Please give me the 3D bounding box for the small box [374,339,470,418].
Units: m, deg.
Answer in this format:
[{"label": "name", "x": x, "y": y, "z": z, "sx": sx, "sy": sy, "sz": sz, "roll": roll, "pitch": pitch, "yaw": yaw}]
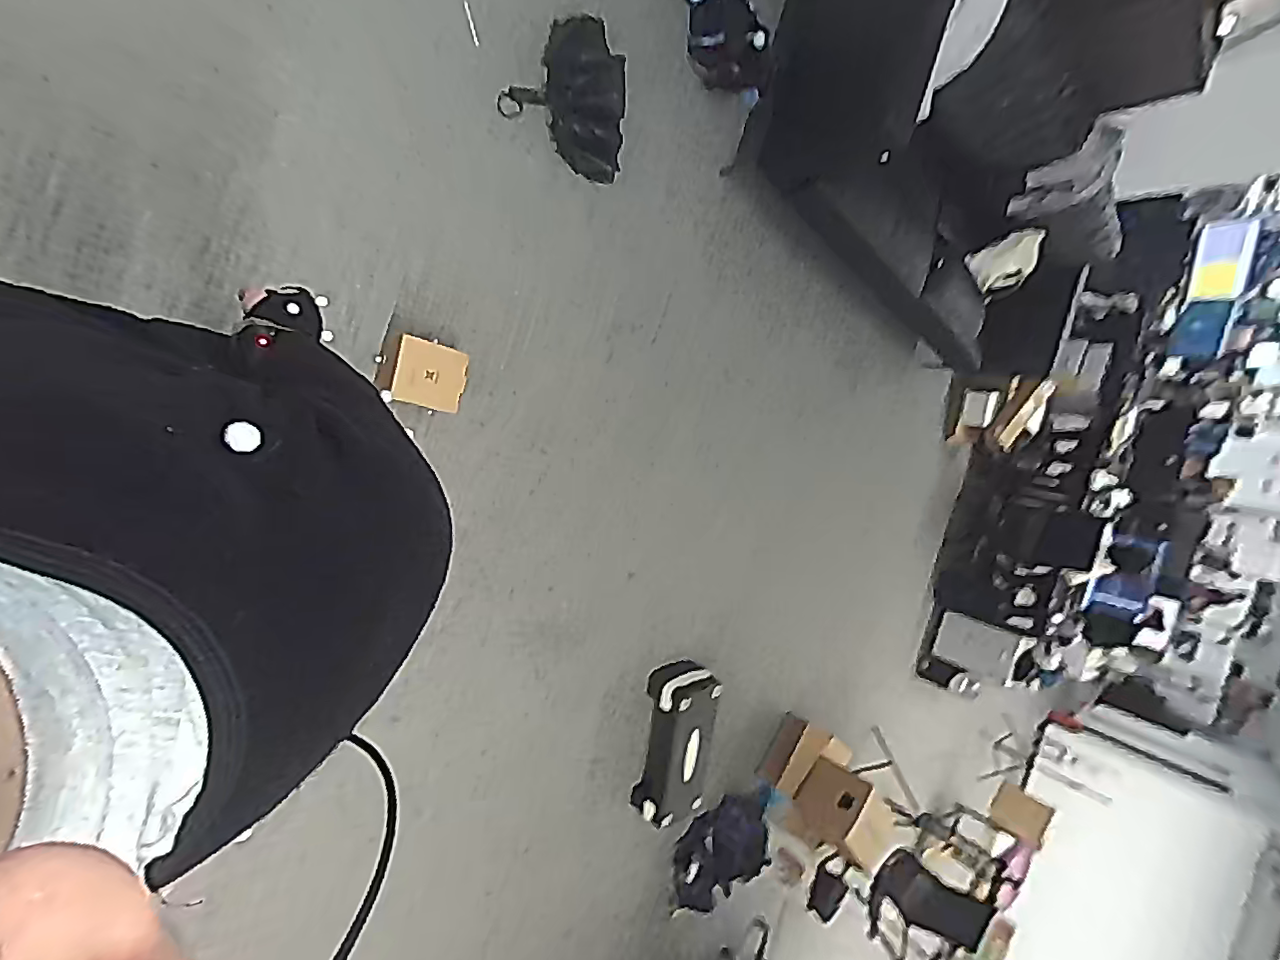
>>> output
[{"label": "small box", "x": -0.584, "y": -0.271, "z": 1.442, "sx": 0.179, "sy": 0.176, "sz": 0.168, "roll": 10, "pitch": 93, "yaw": -41}]
